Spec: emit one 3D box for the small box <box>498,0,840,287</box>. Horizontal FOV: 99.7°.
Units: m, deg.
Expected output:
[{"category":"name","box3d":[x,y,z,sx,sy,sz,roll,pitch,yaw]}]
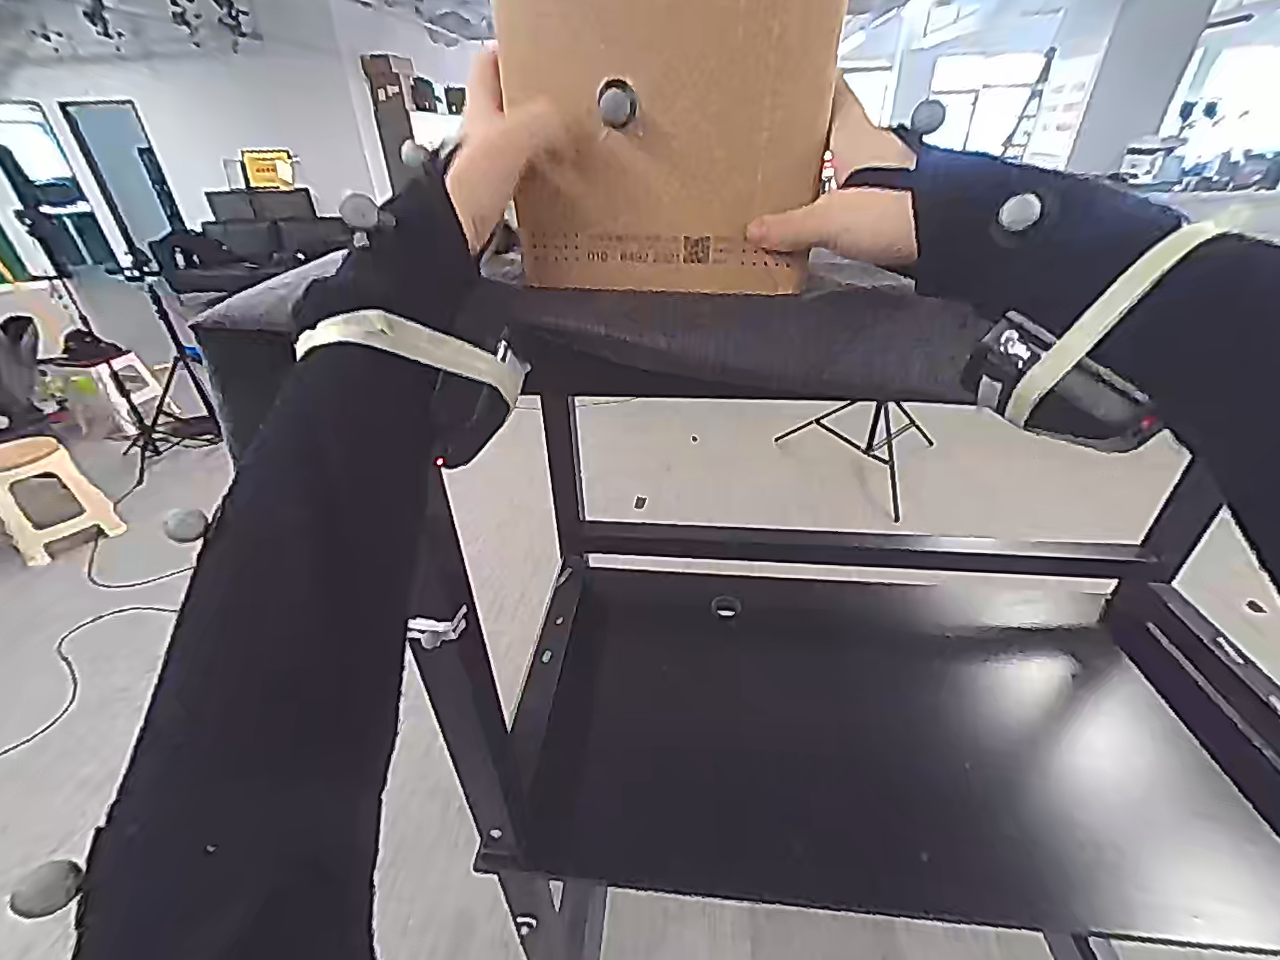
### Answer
[{"category":"small box","box3d":[0.025,-0.223,0.346,0.168,0.176,0.179,4,29,7]}]
